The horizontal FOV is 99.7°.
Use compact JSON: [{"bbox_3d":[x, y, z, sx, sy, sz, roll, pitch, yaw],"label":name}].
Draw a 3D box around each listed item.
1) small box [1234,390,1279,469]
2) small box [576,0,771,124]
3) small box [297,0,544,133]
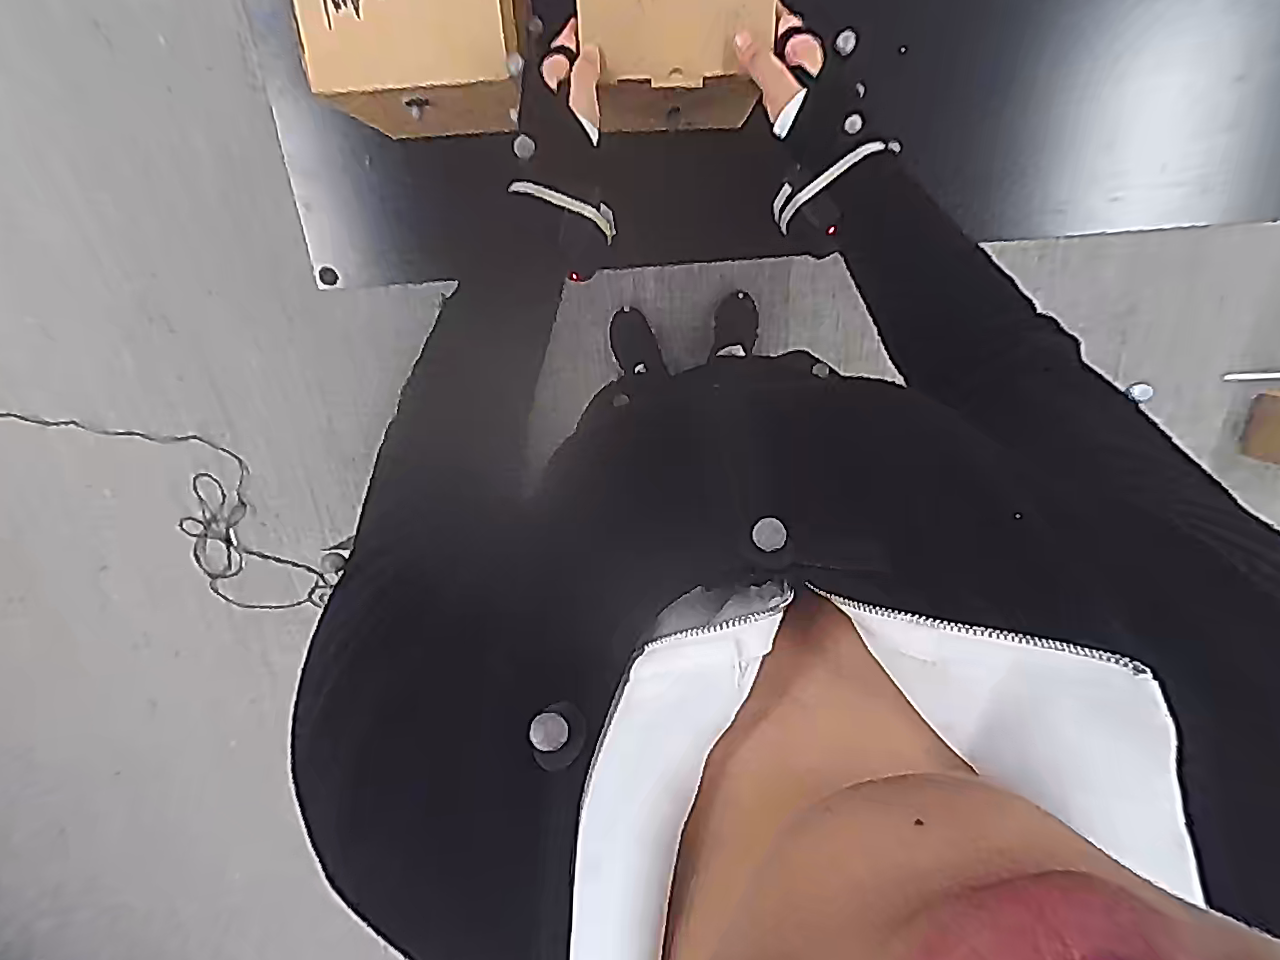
[{"bbox_3d":[1.700,-0.128,1.382,0.168,0.176,0.179,-4,111,3],"label":"small box"},{"bbox_3d":[0.031,-0.453,0.512,0.168,0.176,0.179,-1,111,1],"label":"small box"},{"bbox_3d":[-0.200,-0.448,0.516,0.179,0.176,0.168,-3,111,1],"label":"small box"}]
